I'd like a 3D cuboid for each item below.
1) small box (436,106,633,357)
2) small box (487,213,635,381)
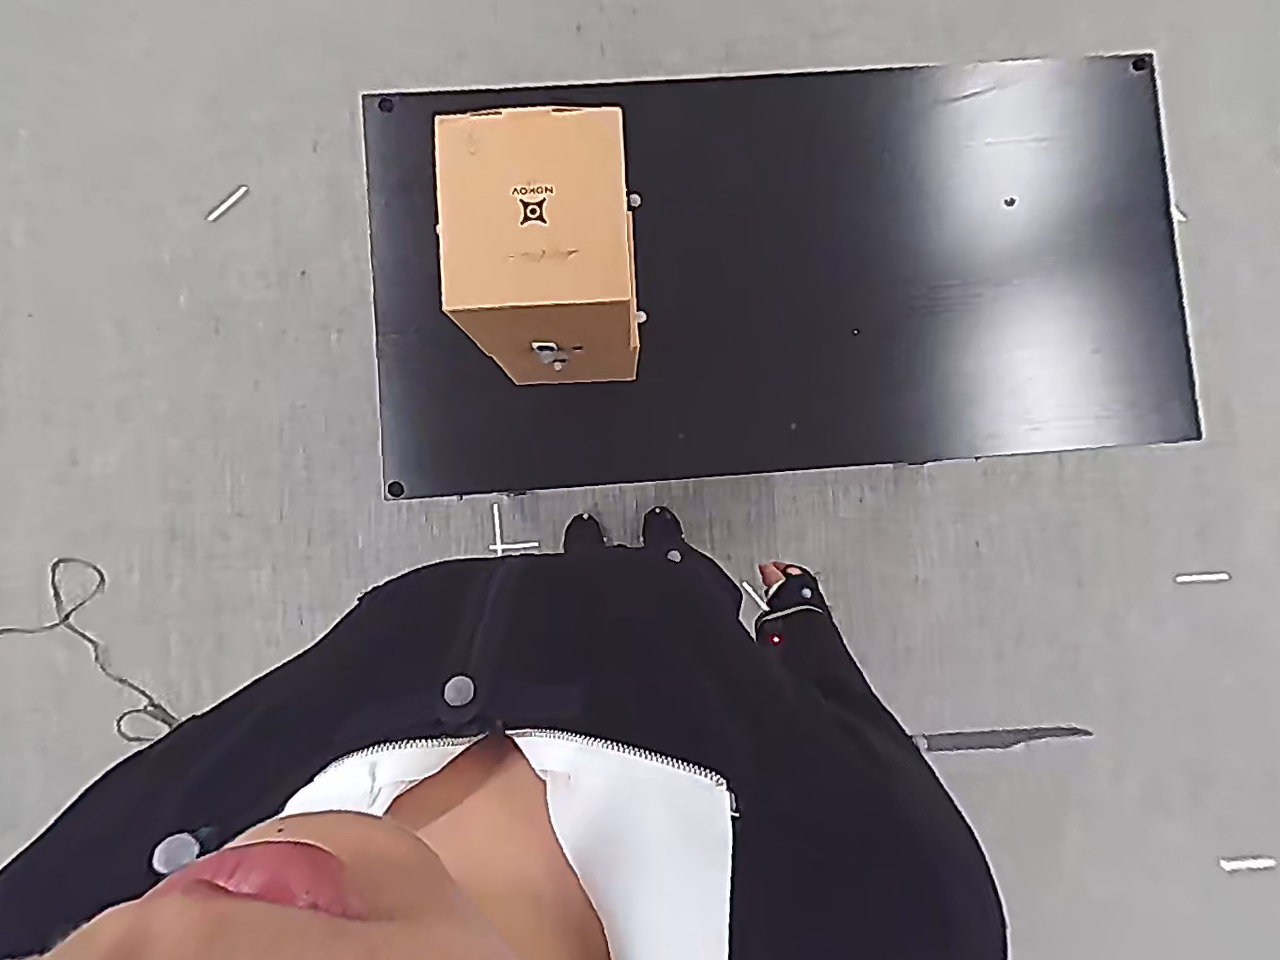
[{"bbox_3d":[-0.095,-0.236,0.552,0.168,0.176,0.179,-4,88,-1],"label":"small box"},{"bbox_3d":[-0.097,-0.230,0.714,0.179,0.176,0.168,-3,87,-3],"label":"small box"}]
